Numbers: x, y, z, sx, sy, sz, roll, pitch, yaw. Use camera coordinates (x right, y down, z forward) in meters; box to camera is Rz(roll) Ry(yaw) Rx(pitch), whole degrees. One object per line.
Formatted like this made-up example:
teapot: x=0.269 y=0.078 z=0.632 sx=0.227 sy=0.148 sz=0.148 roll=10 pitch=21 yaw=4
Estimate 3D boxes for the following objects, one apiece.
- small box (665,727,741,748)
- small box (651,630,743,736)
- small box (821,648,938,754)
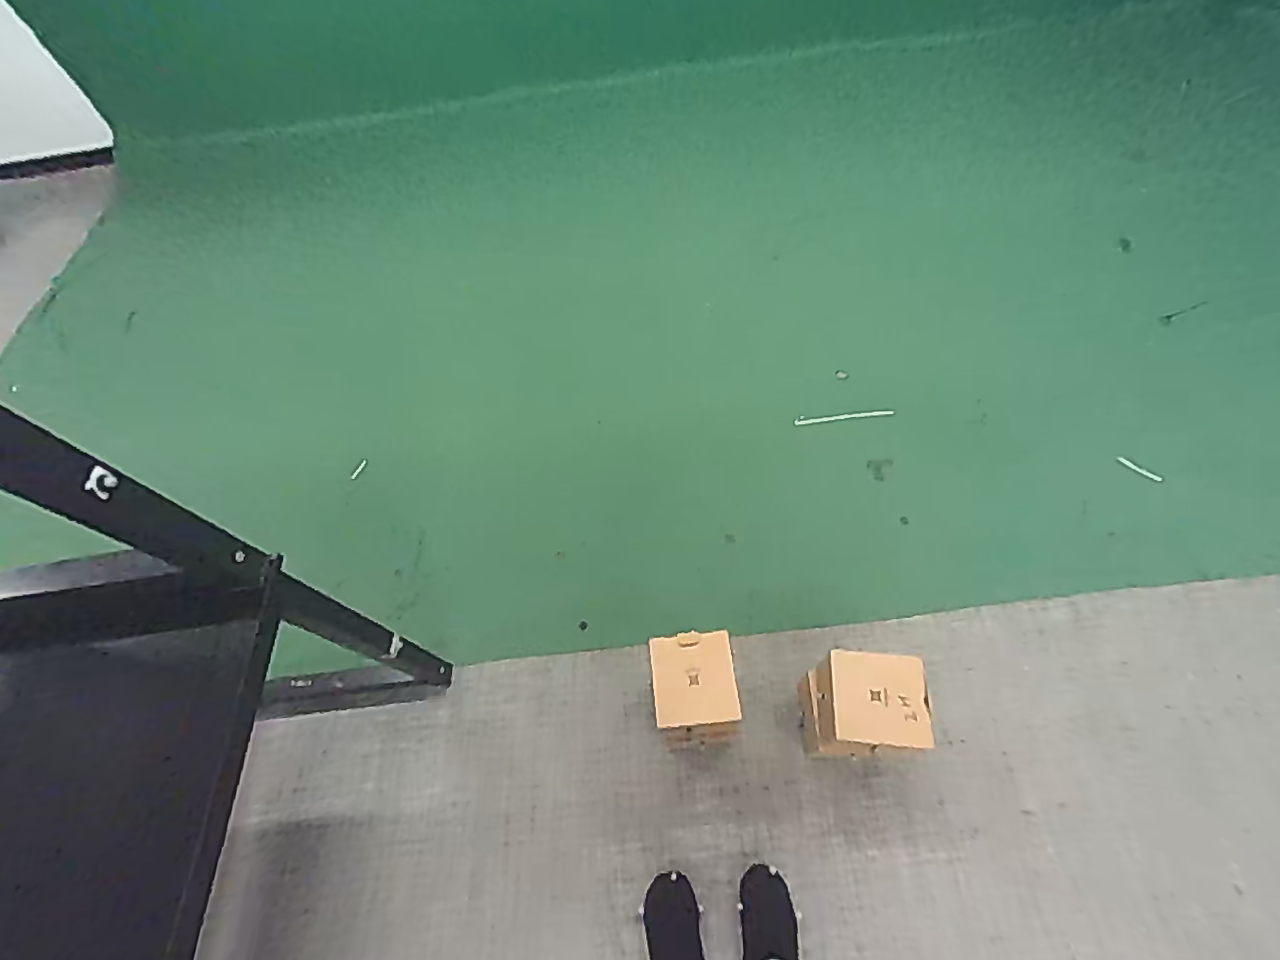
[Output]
small box: x=0.137 y=0.522 z=1.266 sx=0.168 sy=0.176 sz=0.179 roll=-9 pitch=58 yaw=2
small box: x=0.119 y=0.432 z=1.132 sx=0.168 sy=0.176 sz=0.179 roll=-8 pitch=57 yaw=3
small box: x=0.463 y=0.445 z=1.080 sx=0.179 sy=0.176 sz=0.168 roll=2 pitch=61 yaw=8
